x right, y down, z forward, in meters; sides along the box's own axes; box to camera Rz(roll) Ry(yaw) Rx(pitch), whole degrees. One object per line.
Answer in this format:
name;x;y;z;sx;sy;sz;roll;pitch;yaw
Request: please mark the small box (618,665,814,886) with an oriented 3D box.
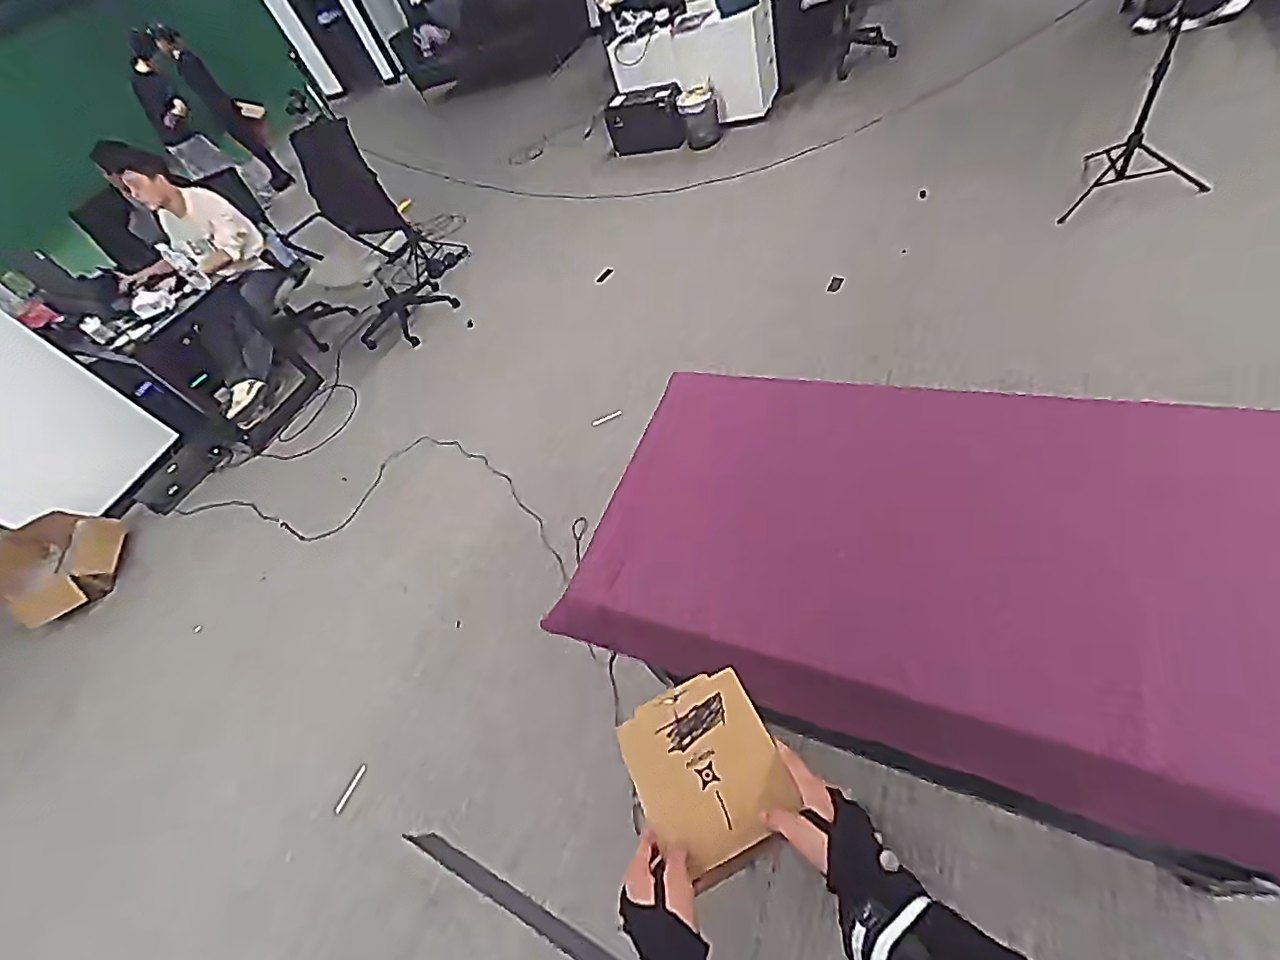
small box;0.093;0.368;0.669;0.168;0.176;0.179;-26;50;-5
